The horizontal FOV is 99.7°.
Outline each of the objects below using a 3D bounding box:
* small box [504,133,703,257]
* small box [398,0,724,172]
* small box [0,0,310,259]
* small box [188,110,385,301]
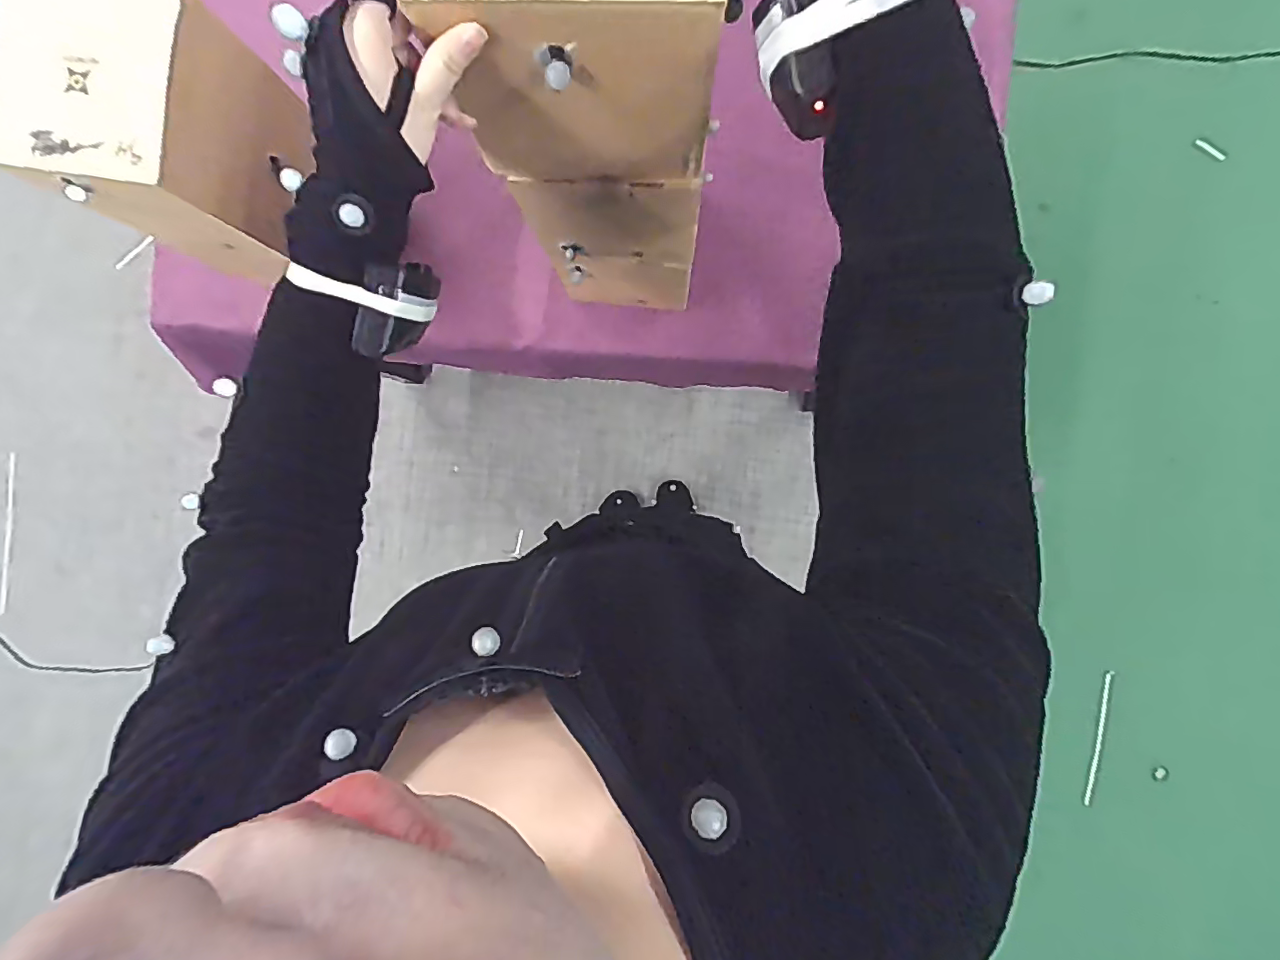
[{"bbox_3d":[-0.023,-0.334,0.525,0.168,0.176,0.179,4,91,3],"label":"small box"},{"bbox_3d":[-0.035,-0.332,0.363,0.179,0.176,0.168,3,91,4],"label":"small box"},{"bbox_3d":[-0.472,-0.353,0.548,0.168,0.176,0.179,10,91,4],"label":"small box"},{"bbox_3d":[-0.462,-0.358,0.713,0.168,0.176,0.179,10,93,3],"label":"small box"}]
